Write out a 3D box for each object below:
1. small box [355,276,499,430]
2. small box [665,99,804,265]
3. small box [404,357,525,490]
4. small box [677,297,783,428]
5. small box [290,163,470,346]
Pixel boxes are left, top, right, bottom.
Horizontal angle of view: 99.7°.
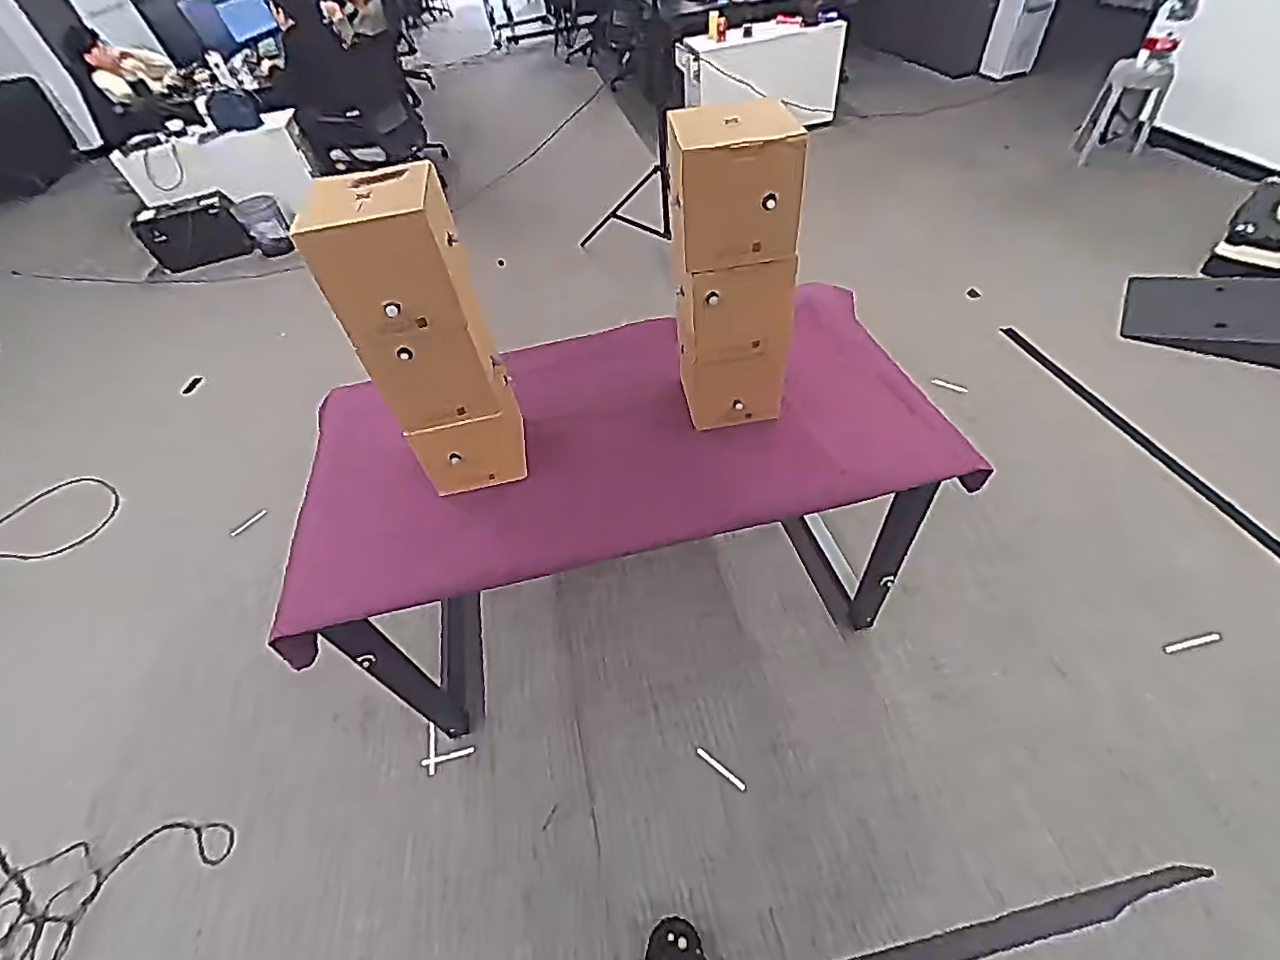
[{"bbox_3d":[-0.336,-0.210,0.889,0.168,0.176,0.179,-13,48,-4],"label":"small box"},{"bbox_3d":[0.131,-0.434,0.802,0.168,0.176,0.179,-7,48,0],"label":"small box"},{"bbox_3d":[-0.318,-0.099,1.008,0.168,0.176,0.179,-13,49,-3],"label":"small box"},{"bbox_3d":[0.167,-0.226,1.052,0.168,0.176,0.179,-10,49,0],"label":"small box"},{"bbox_3d":[-0.348,-0.317,0.764,0.168,0.176,0.179,-12,49,-3],"label":"small box"}]
